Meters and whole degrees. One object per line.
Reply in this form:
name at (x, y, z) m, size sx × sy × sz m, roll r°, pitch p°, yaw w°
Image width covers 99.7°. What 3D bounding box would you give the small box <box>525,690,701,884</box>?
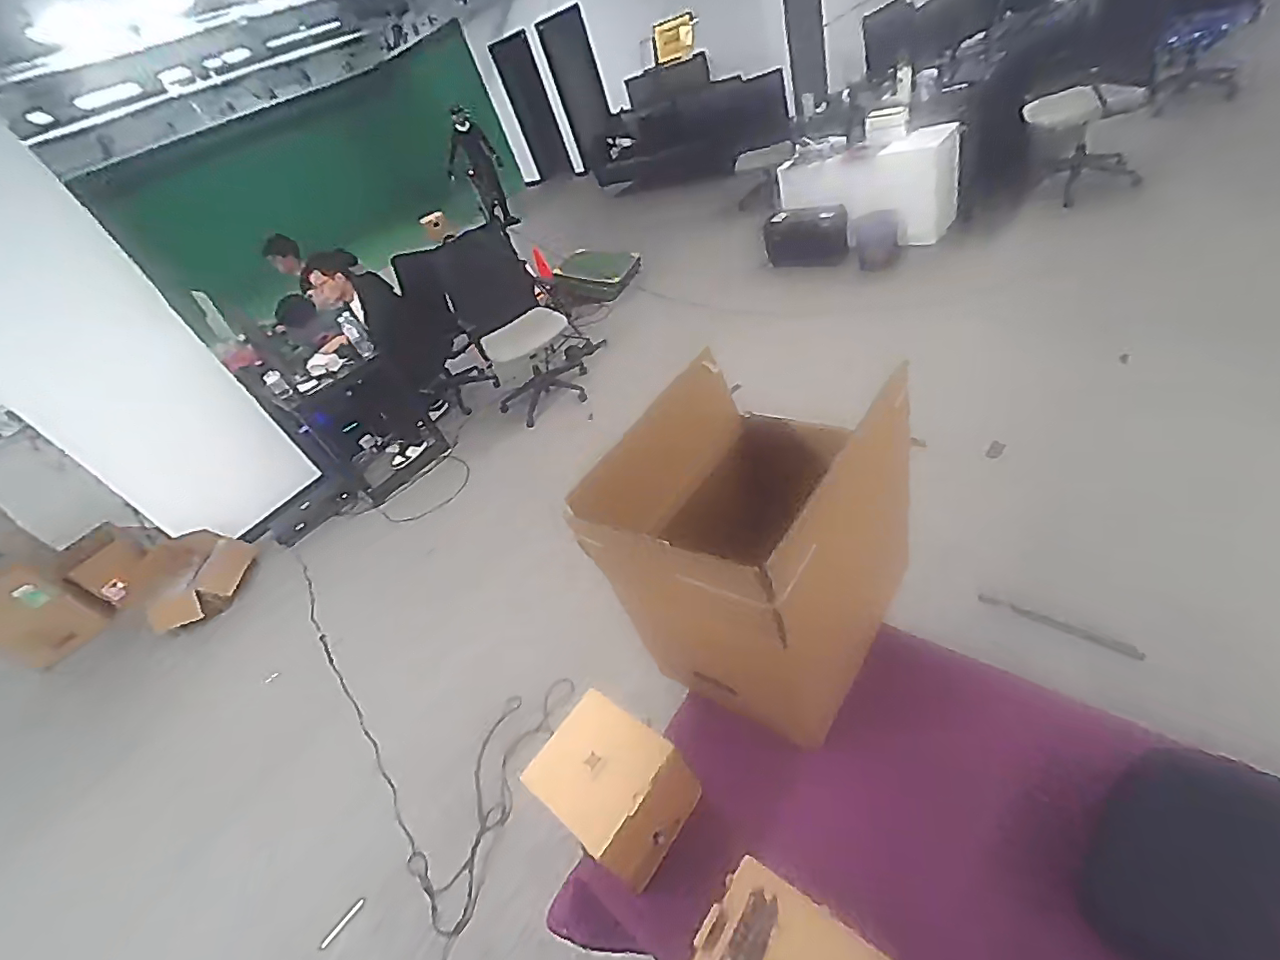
small box at (-0.034, 0.462, 0.816) m, size 0.179 × 0.176 × 0.168 m, roll 18°, pitch 54°, yaw 39°
